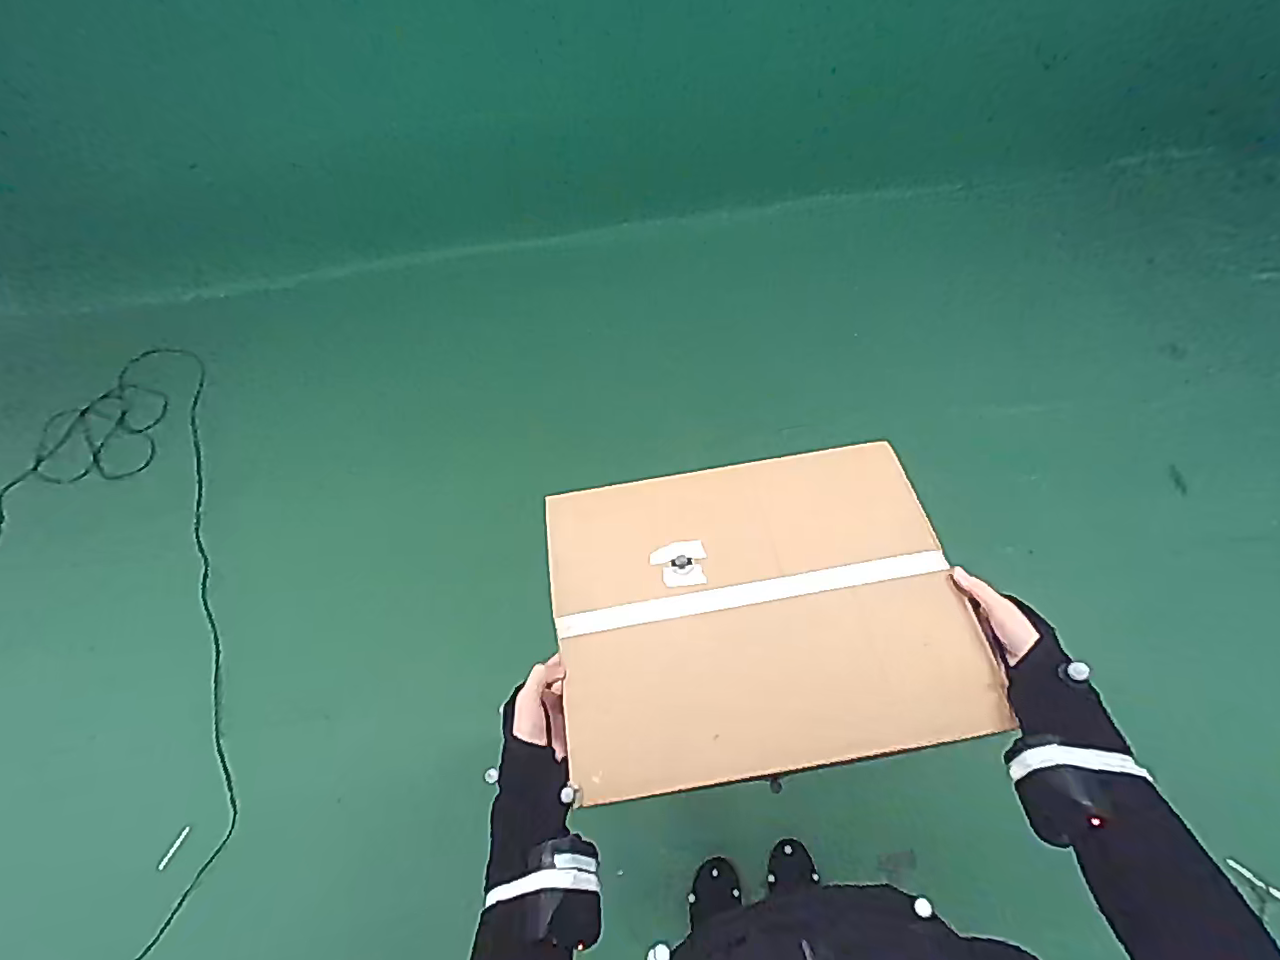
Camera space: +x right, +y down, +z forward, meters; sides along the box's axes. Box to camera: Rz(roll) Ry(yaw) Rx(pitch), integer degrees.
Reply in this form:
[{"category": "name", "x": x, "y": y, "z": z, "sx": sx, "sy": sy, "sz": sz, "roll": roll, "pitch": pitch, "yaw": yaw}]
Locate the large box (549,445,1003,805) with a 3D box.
[{"category": "large box", "x": 0.126, "y": 0.196, "z": 0.689, "sx": 0.408, "sy": 0.320, "sz": 0.320, "roll": -10, "pitch": 59, "yaw": 0}]
